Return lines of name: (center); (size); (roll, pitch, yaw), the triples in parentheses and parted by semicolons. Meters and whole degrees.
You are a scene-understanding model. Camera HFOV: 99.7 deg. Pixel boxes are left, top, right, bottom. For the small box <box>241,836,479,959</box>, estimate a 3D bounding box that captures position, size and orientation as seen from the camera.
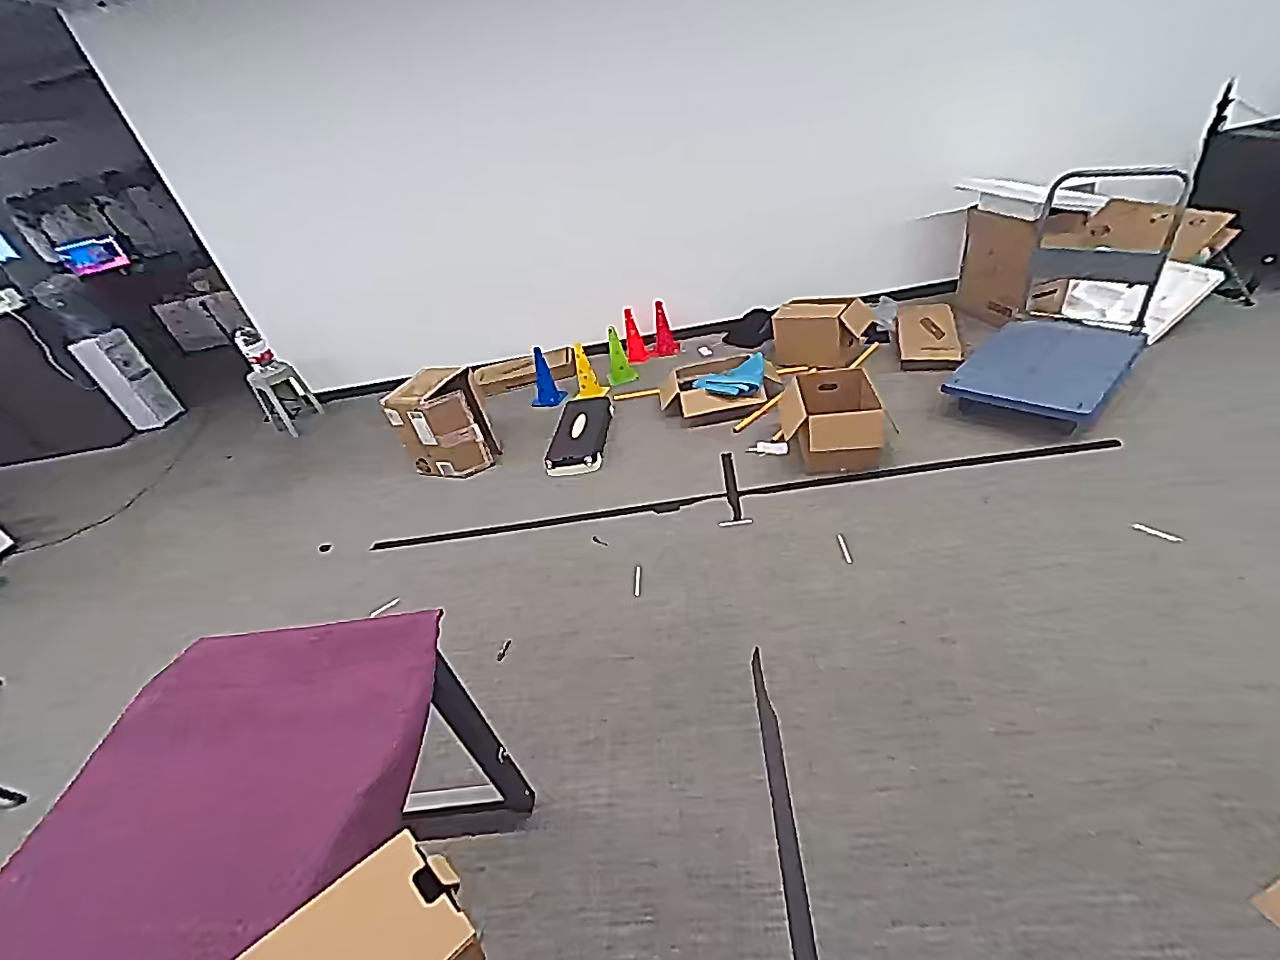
small box: (-0.251, 0.506, 0.512); (0.179, 0.176, 0.168); (-25, 24, -39)
